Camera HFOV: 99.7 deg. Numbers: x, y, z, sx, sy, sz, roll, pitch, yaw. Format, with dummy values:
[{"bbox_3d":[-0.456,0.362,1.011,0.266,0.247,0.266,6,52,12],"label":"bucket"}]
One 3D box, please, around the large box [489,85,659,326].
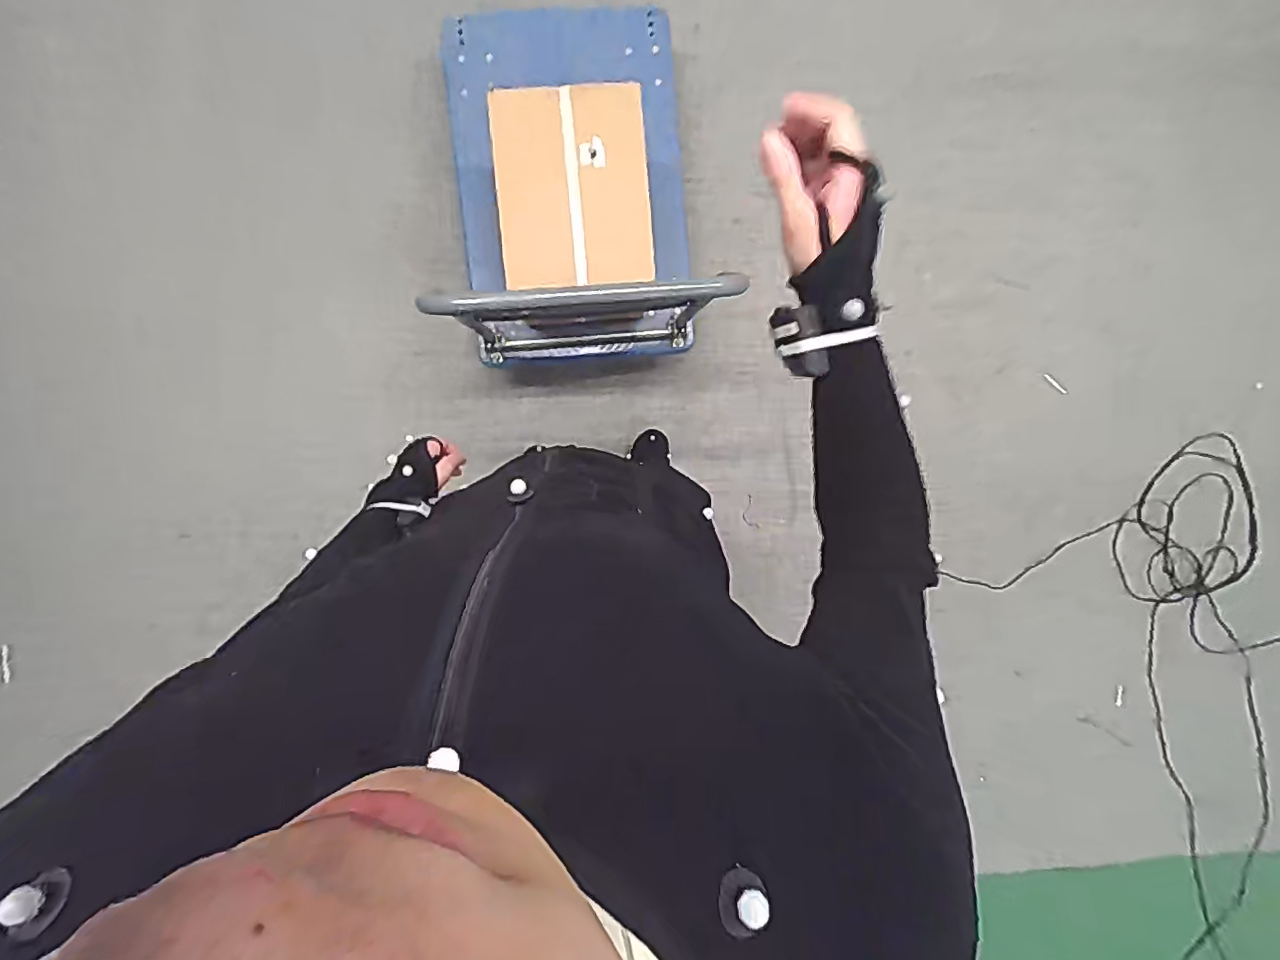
[{"bbox_3d":[-0.141,-0.602,1.255,0.320,0.320,0.408,-5,94,-4],"label":"large box"}]
